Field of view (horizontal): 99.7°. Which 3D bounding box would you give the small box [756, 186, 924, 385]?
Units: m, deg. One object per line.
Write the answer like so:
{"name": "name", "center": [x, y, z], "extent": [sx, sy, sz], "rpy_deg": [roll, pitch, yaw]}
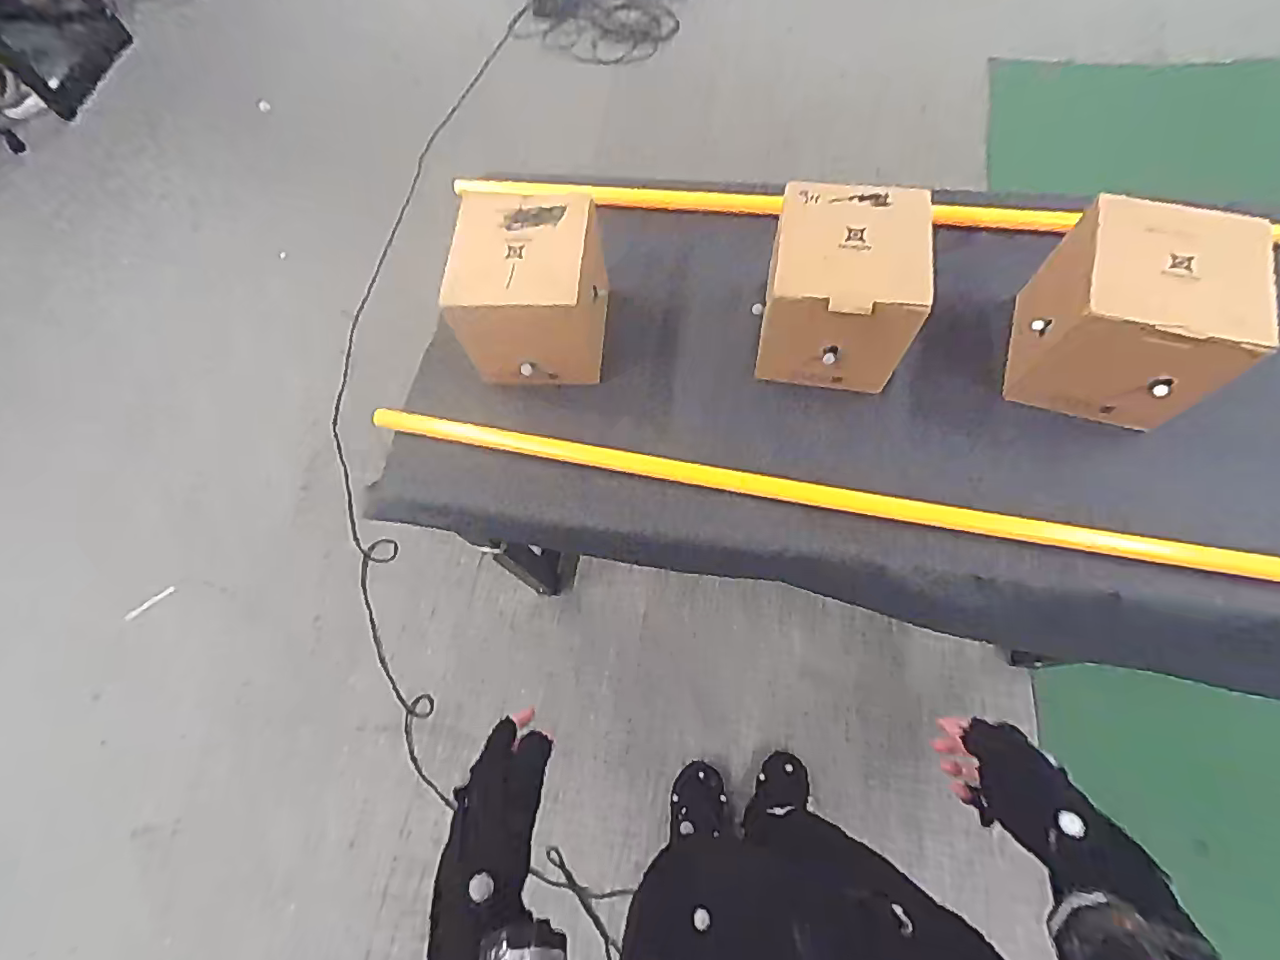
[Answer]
{"name": "small box", "center": [0.240, -0.237, 0.683], "extent": [0.168, 0.176, 0.179], "rpy_deg": [5, 68, 9]}

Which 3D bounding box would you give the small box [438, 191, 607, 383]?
{"name": "small box", "center": [-0.140, -0.250, 0.717], "extent": [0.168, 0.176, 0.179], "rpy_deg": [2, 69, 6]}

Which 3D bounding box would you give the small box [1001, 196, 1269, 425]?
{"name": "small box", "center": [0.556, -0.188, 0.633], "extent": [0.168, 0.176, 0.179], "rpy_deg": [17, 69, 10]}
